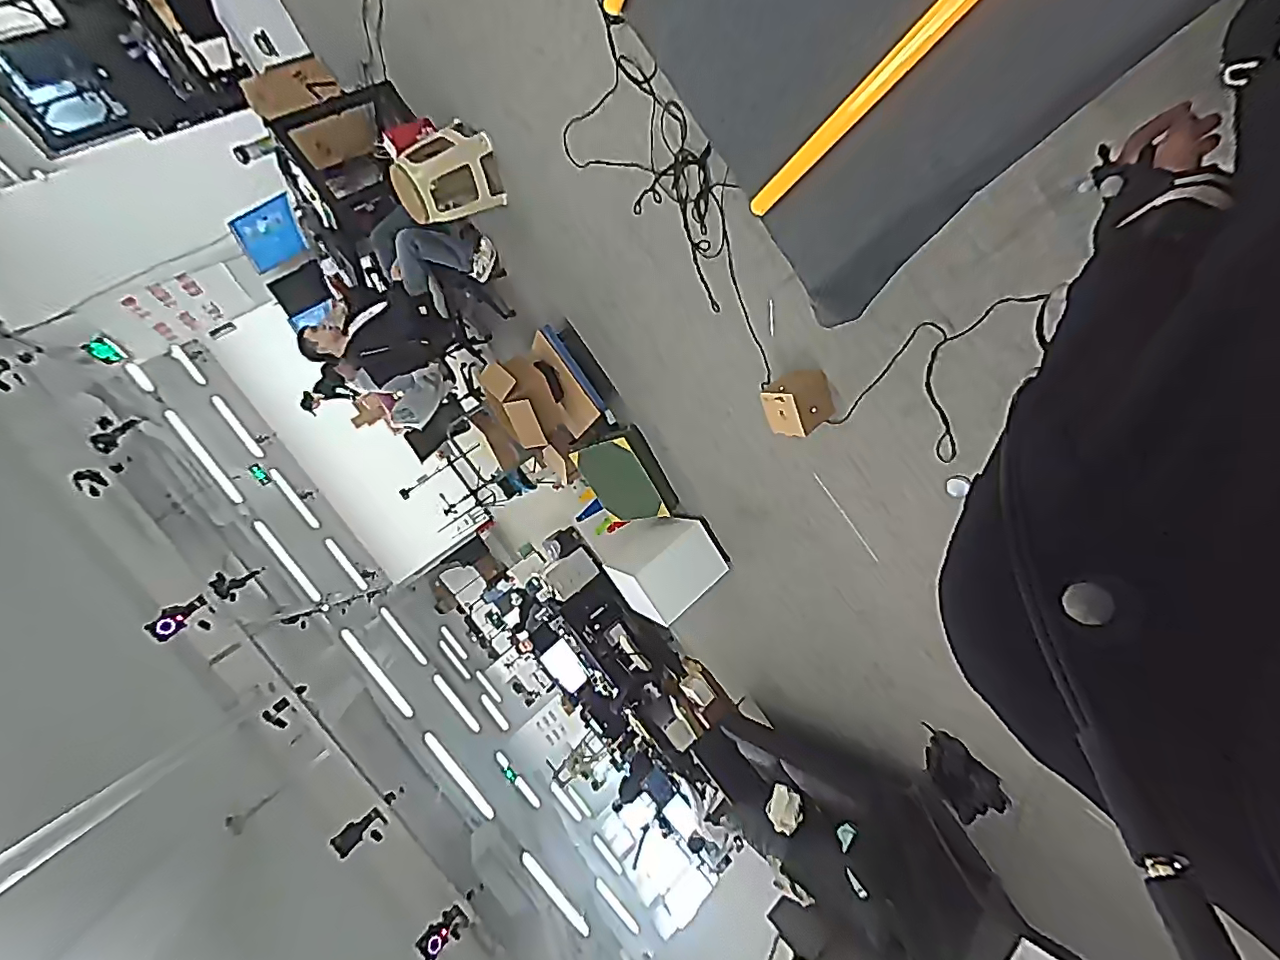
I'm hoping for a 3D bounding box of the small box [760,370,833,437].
[{"bbox_3d":[0.574,-0.280,1.960,0.168,0.176,0.179,19,140,57],"label":"small box"}]
